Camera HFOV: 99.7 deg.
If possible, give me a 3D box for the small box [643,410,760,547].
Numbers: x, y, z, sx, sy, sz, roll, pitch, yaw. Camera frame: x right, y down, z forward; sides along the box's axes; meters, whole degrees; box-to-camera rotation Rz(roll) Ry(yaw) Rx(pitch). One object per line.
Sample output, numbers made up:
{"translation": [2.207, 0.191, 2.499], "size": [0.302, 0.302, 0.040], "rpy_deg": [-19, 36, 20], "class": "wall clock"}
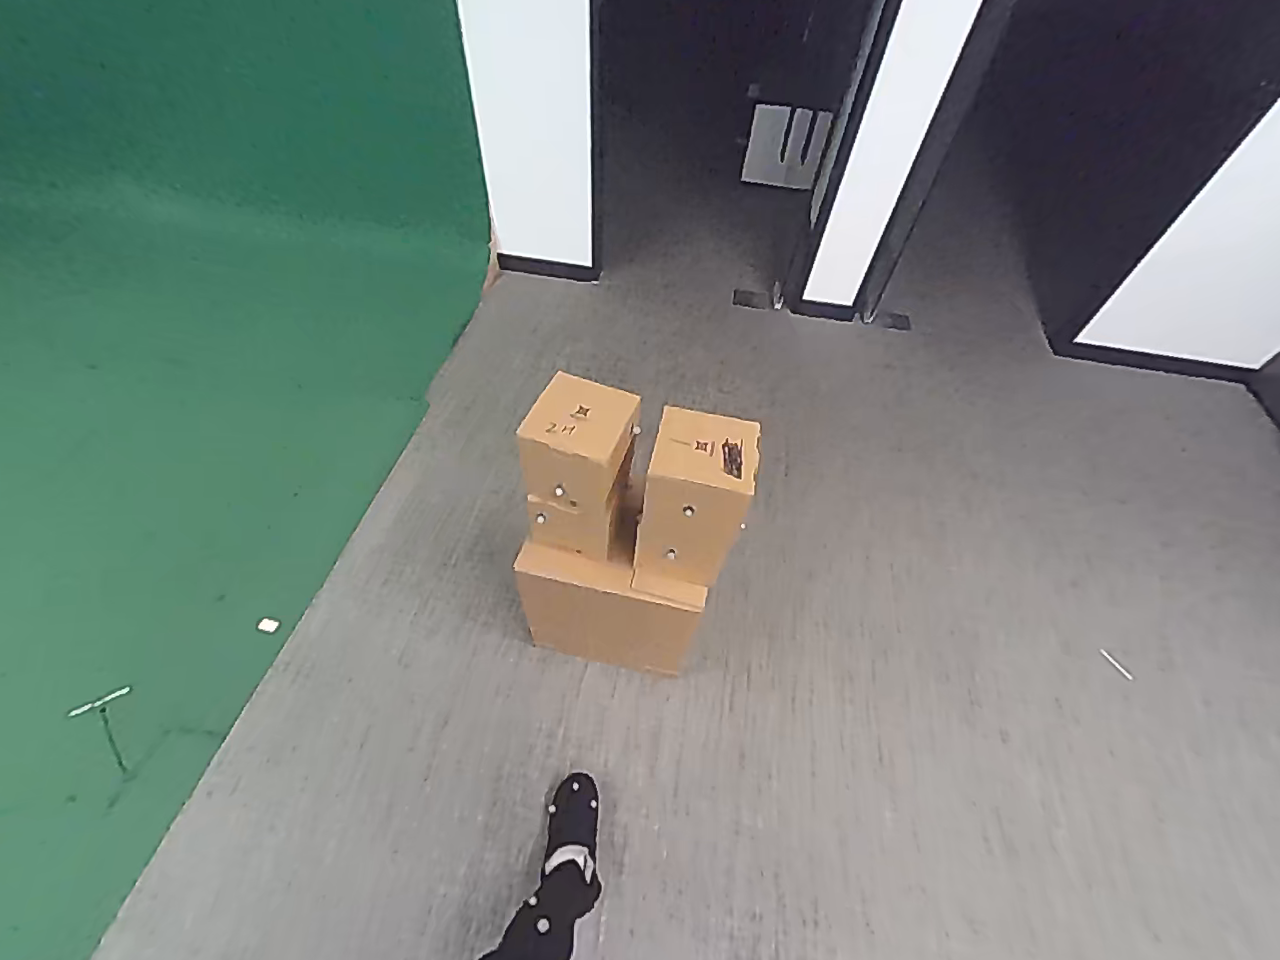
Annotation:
{"translation": [0.107, 0.002, 0.980], "size": [0.179, 0.176, 0.168], "rpy_deg": [11, 52, 5], "class": "small box"}
